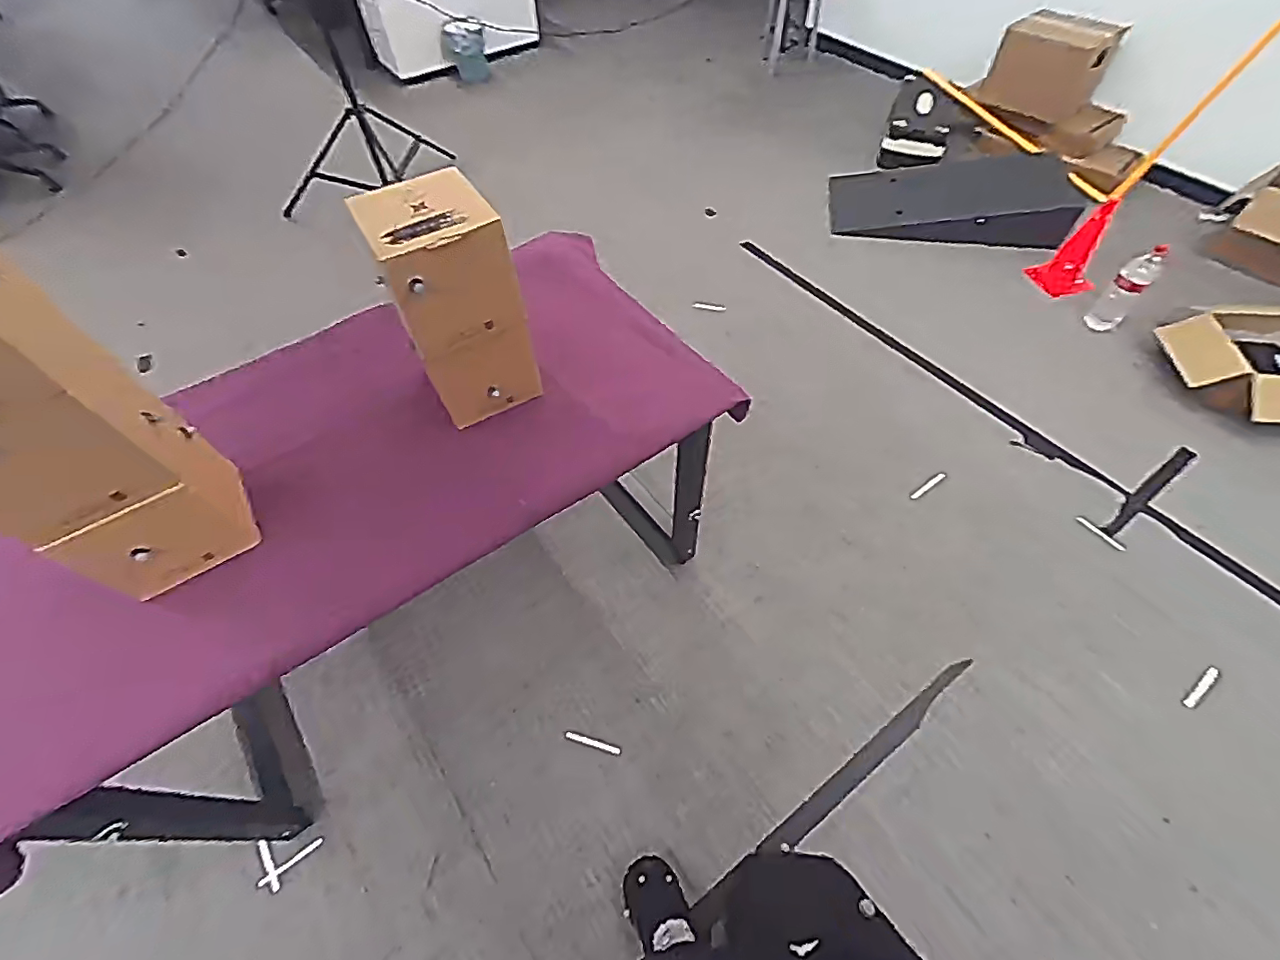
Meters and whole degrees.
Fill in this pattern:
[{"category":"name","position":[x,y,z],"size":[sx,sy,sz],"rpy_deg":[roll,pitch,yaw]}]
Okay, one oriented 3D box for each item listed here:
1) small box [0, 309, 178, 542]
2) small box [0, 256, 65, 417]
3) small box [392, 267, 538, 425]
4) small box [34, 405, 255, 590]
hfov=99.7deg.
[{"category":"small box","position":[-0.698,-0.061,0.634],"size":[0.168,0.176,0.179],"rpy_deg":[-32,60,-18]},{"category":"small box","position":[-0.696,-0.154,0.497],"size":[0.168,0.176,0.179],"rpy_deg":[-31,61,-18]},{"category":"small box","position":[-0.295,-0.228,0.933],"size":[0.168,0.176,0.179],"rpy_deg":[-27,60,-15]},{"category":"small box","position":[-0.692,0.034,0.767],"size":[0.168,0.176,0.179],"rpy_deg":[-31,60,-18]}]
